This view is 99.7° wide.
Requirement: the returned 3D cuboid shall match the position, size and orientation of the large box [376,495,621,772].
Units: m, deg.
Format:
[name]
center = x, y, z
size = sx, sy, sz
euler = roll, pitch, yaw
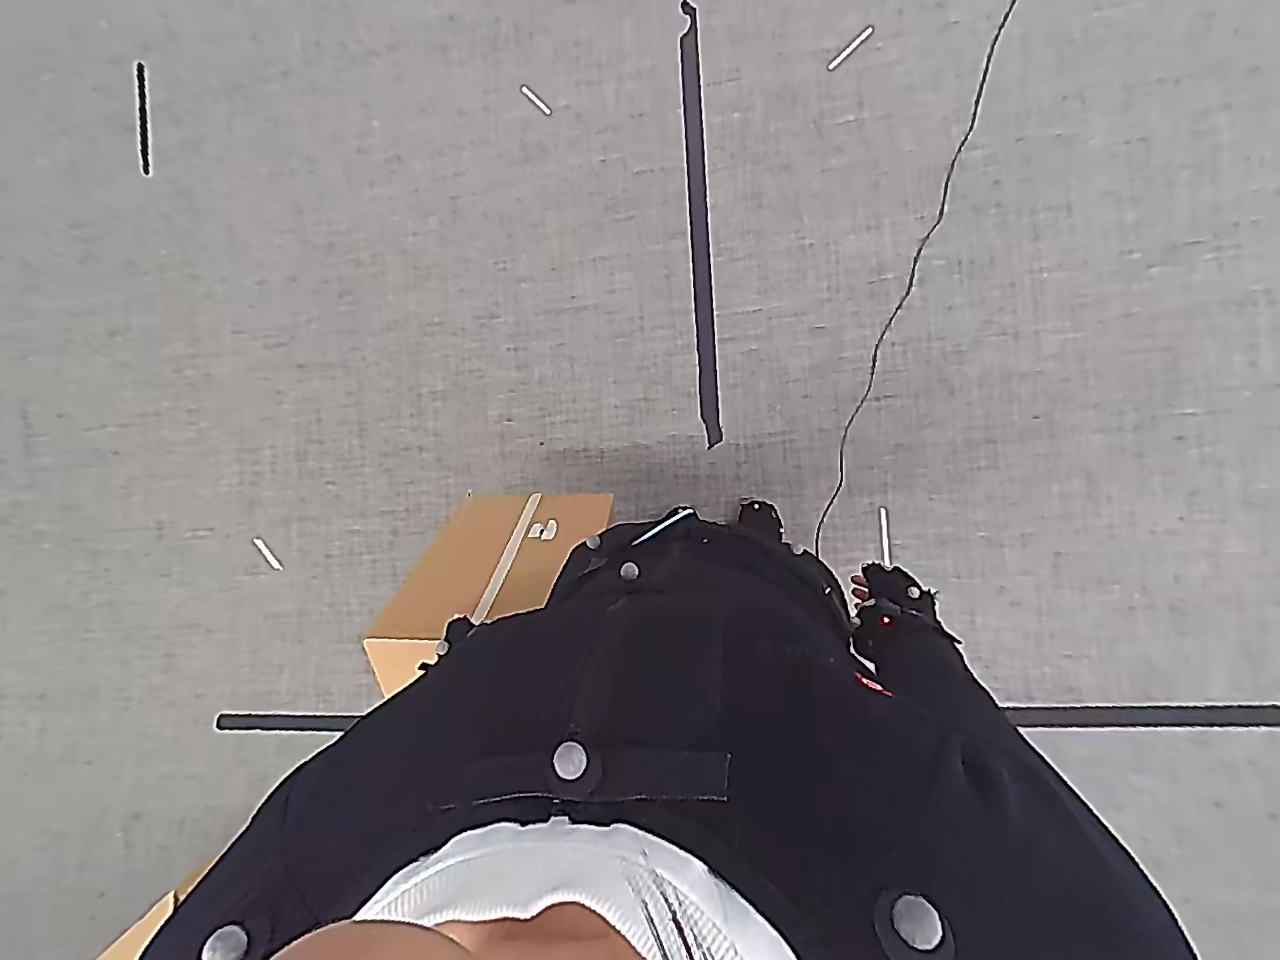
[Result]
[large box]
center = -0.212, 0.262, 1.002
size = 0.320, 0.408, 0.320
euler = 1, 118, 4
